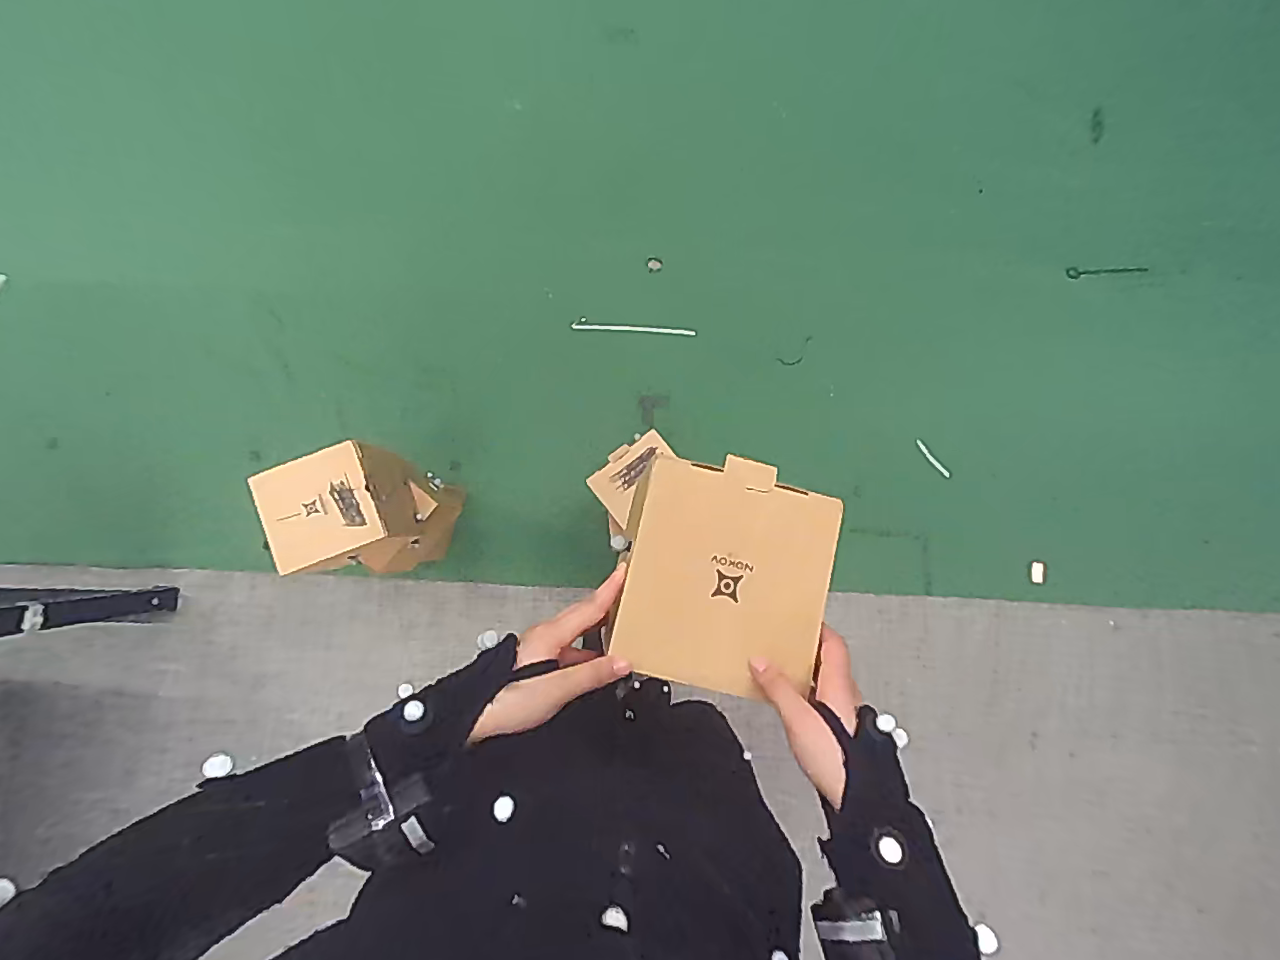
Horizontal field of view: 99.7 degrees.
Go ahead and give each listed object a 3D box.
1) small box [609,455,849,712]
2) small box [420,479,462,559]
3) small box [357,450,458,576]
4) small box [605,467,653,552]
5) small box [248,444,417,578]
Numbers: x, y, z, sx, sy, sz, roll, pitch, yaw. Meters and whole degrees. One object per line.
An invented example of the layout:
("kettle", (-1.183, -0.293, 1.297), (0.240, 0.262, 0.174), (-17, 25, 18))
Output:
("small box", (0.069, 0.091, 0.512), (0.168, 0.176, 0.179), (14, 81, -4))
("small box", (-0.528, 0.077, 1.235), (0.168, 0.176, 0.179), (19, 84, 0))
("small box", (-0.493, 0.068, 1.074), (0.168, 0.176, 0.179), (39, 84, 1))
("small box", (0.008, 0.072, 1.247), (0.168, 0.176, 0.179), (-6, 84, -2))
("small box", (-0.498, 0.051, 0.910), (0.179, 0.176, 0.168), (-21, 86, -2))
